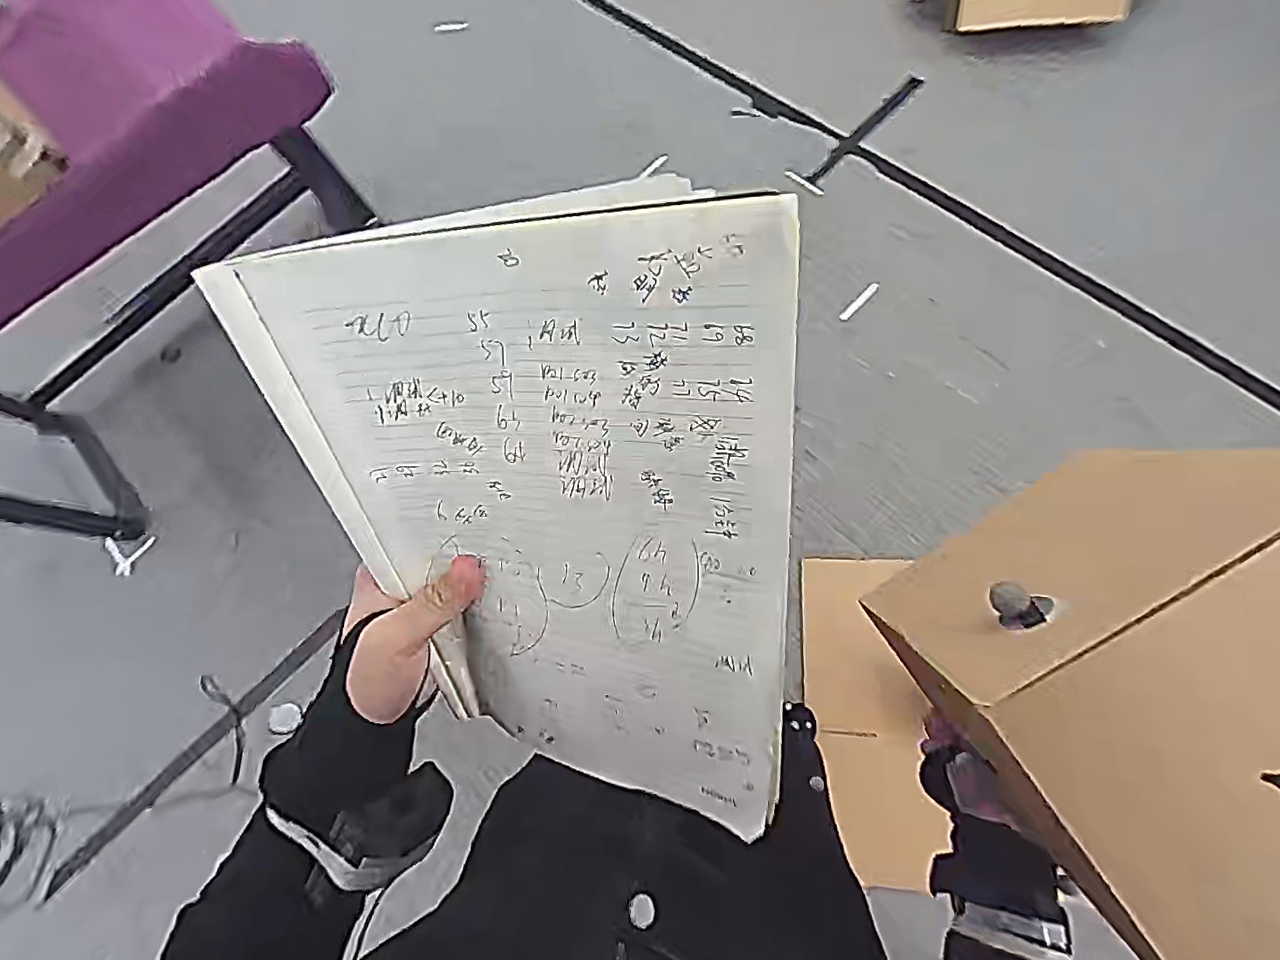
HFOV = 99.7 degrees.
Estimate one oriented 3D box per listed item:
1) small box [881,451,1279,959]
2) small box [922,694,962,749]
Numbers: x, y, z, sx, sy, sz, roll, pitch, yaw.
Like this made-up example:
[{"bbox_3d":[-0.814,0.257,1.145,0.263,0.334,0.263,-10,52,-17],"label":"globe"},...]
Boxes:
[{"bbox_3d":[0.251,0.101,0.273,0.179,0.176,0.168,-36,89,6],"label":"small box"},{"bbox_3d":[0.717,0.462,1.144,0.179,0.176,0.168,-5,74,7],"label":"small box"}]
